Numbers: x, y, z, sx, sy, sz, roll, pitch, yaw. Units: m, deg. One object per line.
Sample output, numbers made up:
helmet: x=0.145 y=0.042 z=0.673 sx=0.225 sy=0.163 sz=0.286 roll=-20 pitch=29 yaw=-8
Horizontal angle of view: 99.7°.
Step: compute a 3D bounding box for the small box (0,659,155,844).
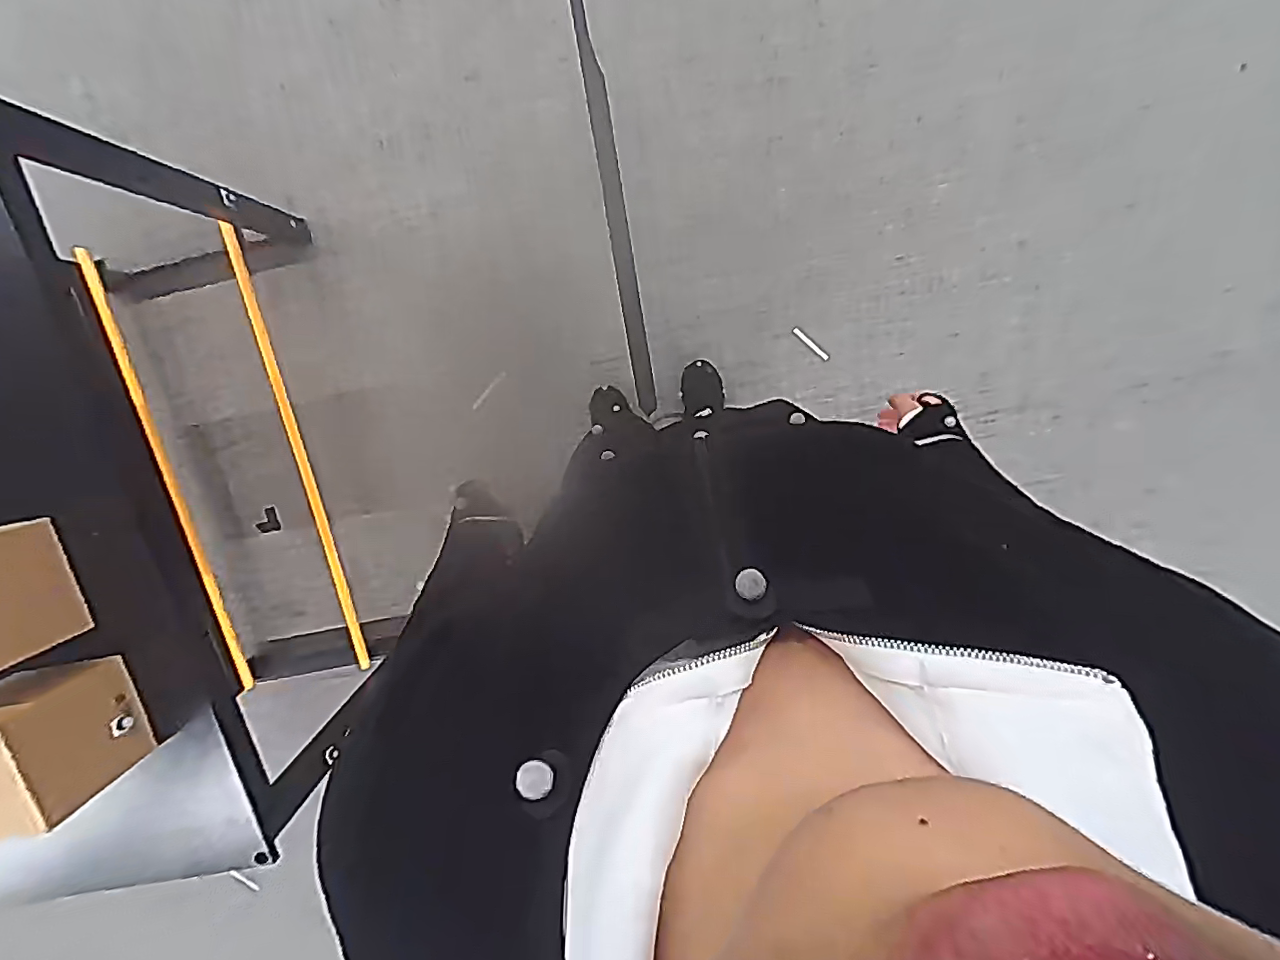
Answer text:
small box: x=-0.858 y=0.378 z=0.761 sx=0.179 sy=0.176 sz=0.168 roll=-11 pitch=103 yaw=3
